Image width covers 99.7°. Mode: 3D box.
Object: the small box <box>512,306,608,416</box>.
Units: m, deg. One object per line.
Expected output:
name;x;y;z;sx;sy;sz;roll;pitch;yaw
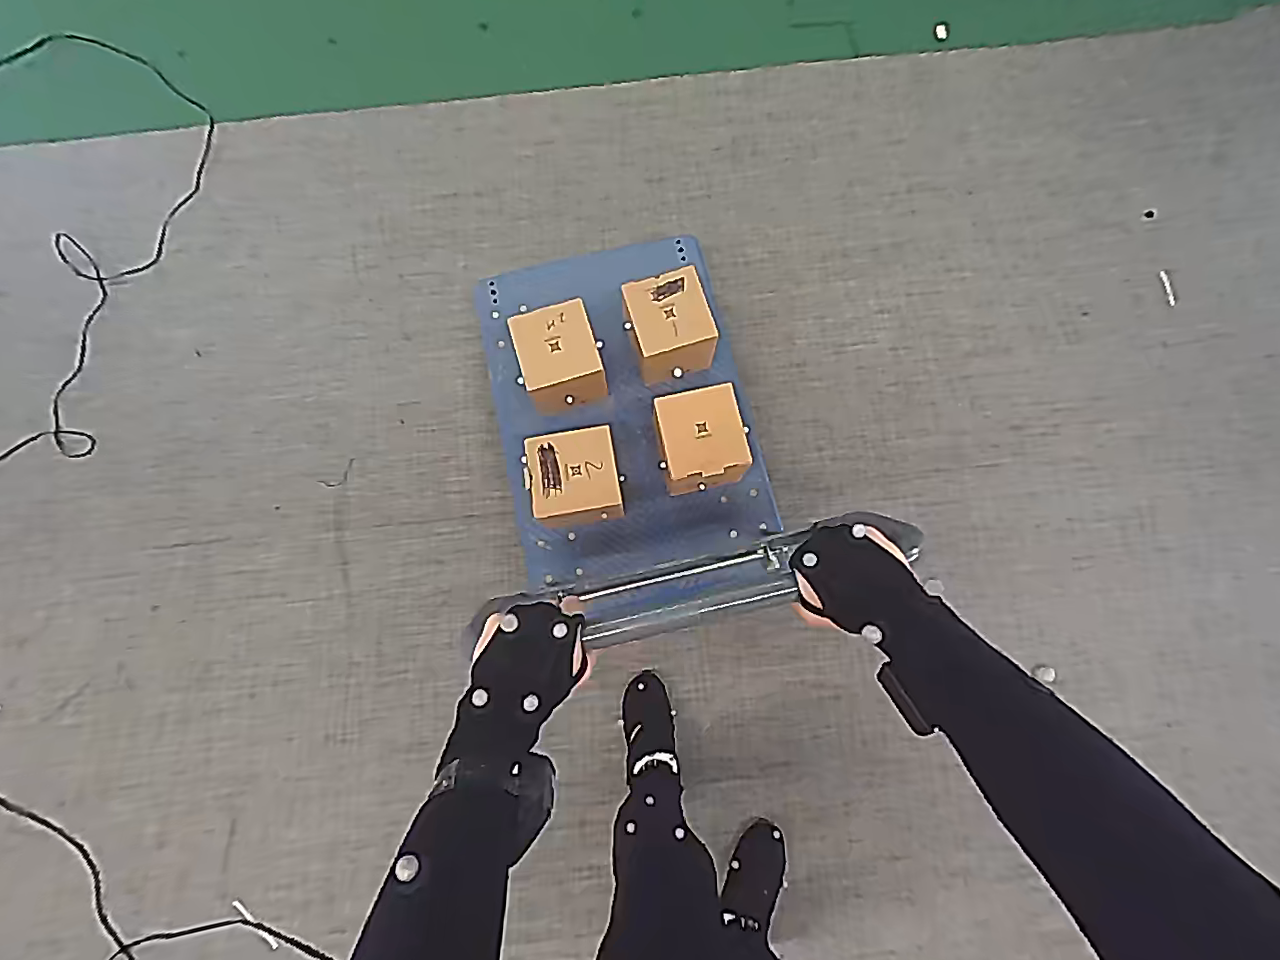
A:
small box;-0.175;-0.259;1.229;0.168;0.176;0.179;-17;78;-3

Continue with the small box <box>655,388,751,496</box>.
small box;0.129;-0.077;1.184;0.168;0.176;0.179;-12;78;-2

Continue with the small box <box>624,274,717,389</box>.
small box;0.065;-0.334;1.240;0.168;0.176;0.179;-17;79;-2
